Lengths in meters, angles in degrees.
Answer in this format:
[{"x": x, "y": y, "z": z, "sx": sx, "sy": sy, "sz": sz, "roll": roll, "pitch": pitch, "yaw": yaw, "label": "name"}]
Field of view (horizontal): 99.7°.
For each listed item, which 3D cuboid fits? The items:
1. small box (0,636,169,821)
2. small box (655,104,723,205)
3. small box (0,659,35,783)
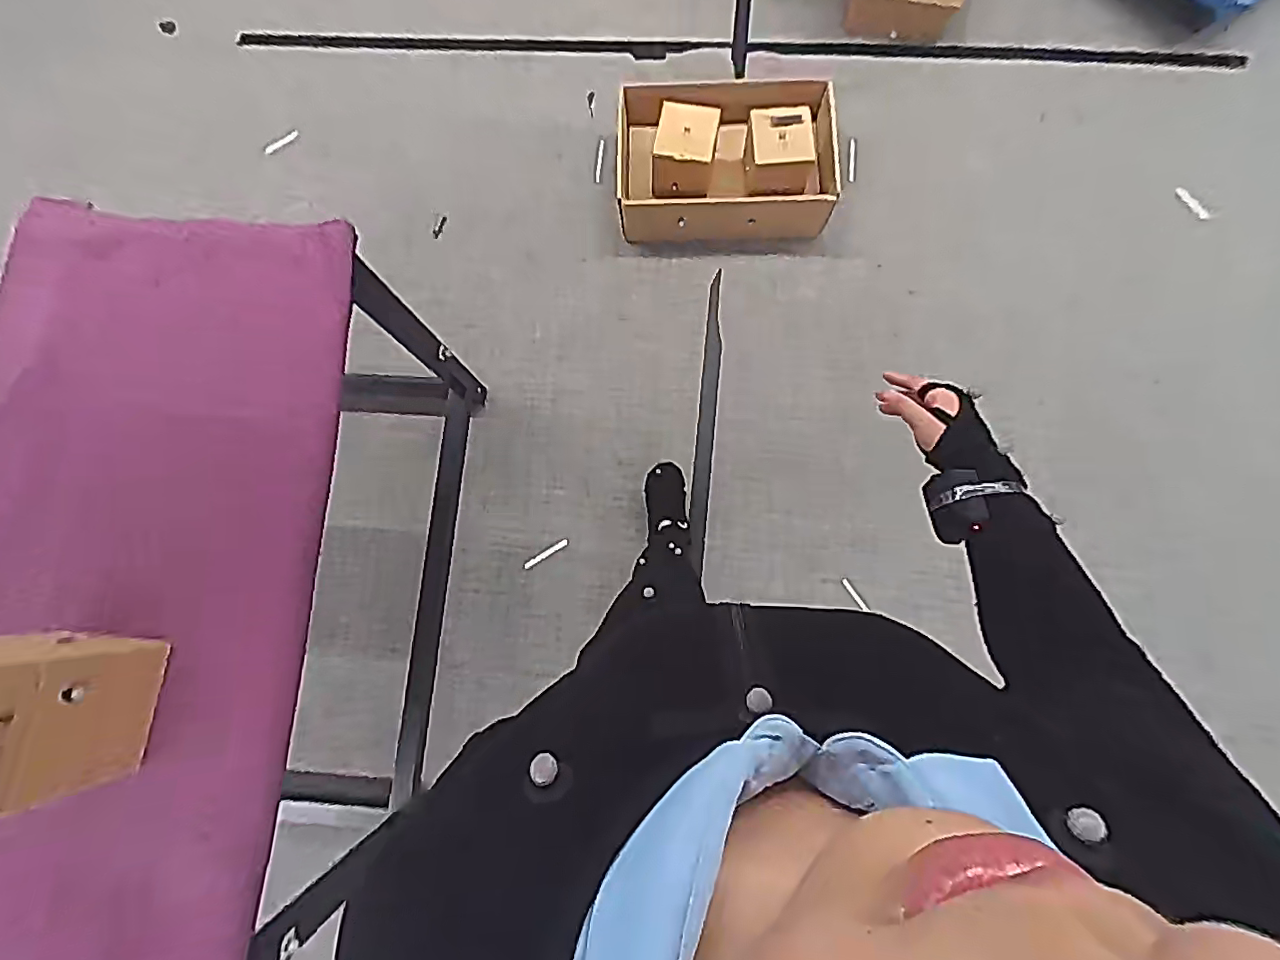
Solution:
[{"x": -0.770, "y": 0.303, "z": 0.699, "sx": 0.168, "sy": 0.176, "sz": 0.179, "roll": 5, "pitch": 80, "yaw": 5, "label": "small box"}, {"x": 0.138, "y": -0.951, "z": 1.586, "sx": 0.168, "sy": 0.176, "sz": 0.179, "roll": 10, "pitch": 79, "yaw": 4, "label": "small box"}, {"x": -0.787, "y": 0.270, "z": 0.539, "sx": 0.179, "sy": 0.176, "sz": 0.168, "roll": 3, "pitch": 79, "yaw": 4, "label": "small box"}]
